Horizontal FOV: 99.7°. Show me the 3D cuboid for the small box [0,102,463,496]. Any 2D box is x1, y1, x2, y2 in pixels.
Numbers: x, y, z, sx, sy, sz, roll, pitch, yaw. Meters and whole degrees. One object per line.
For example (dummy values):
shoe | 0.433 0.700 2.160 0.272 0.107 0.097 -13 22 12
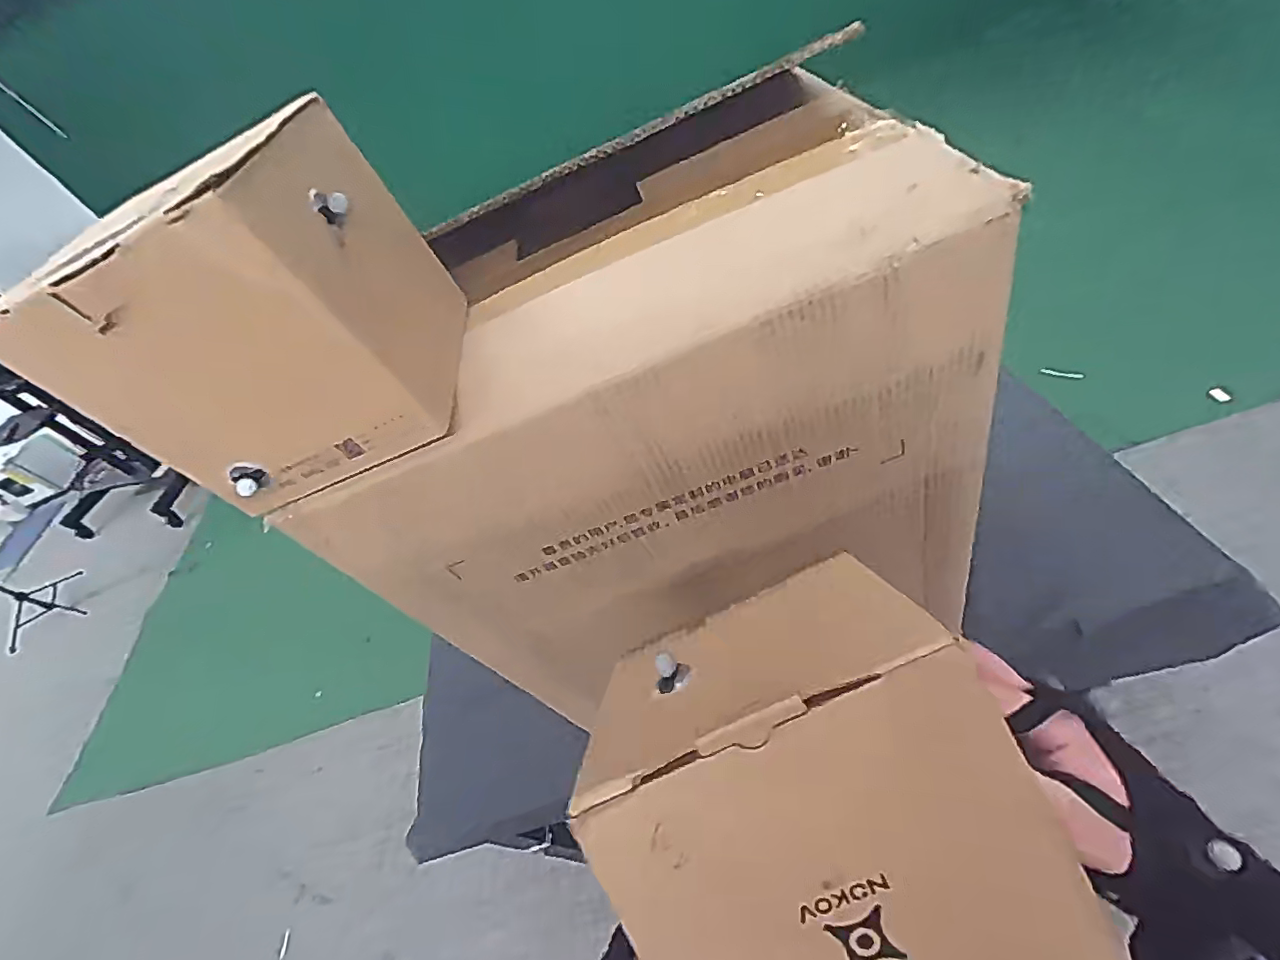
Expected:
small box | -0.243 -0.110 0.372 0.168 0.176 0.179 -20 46 11
